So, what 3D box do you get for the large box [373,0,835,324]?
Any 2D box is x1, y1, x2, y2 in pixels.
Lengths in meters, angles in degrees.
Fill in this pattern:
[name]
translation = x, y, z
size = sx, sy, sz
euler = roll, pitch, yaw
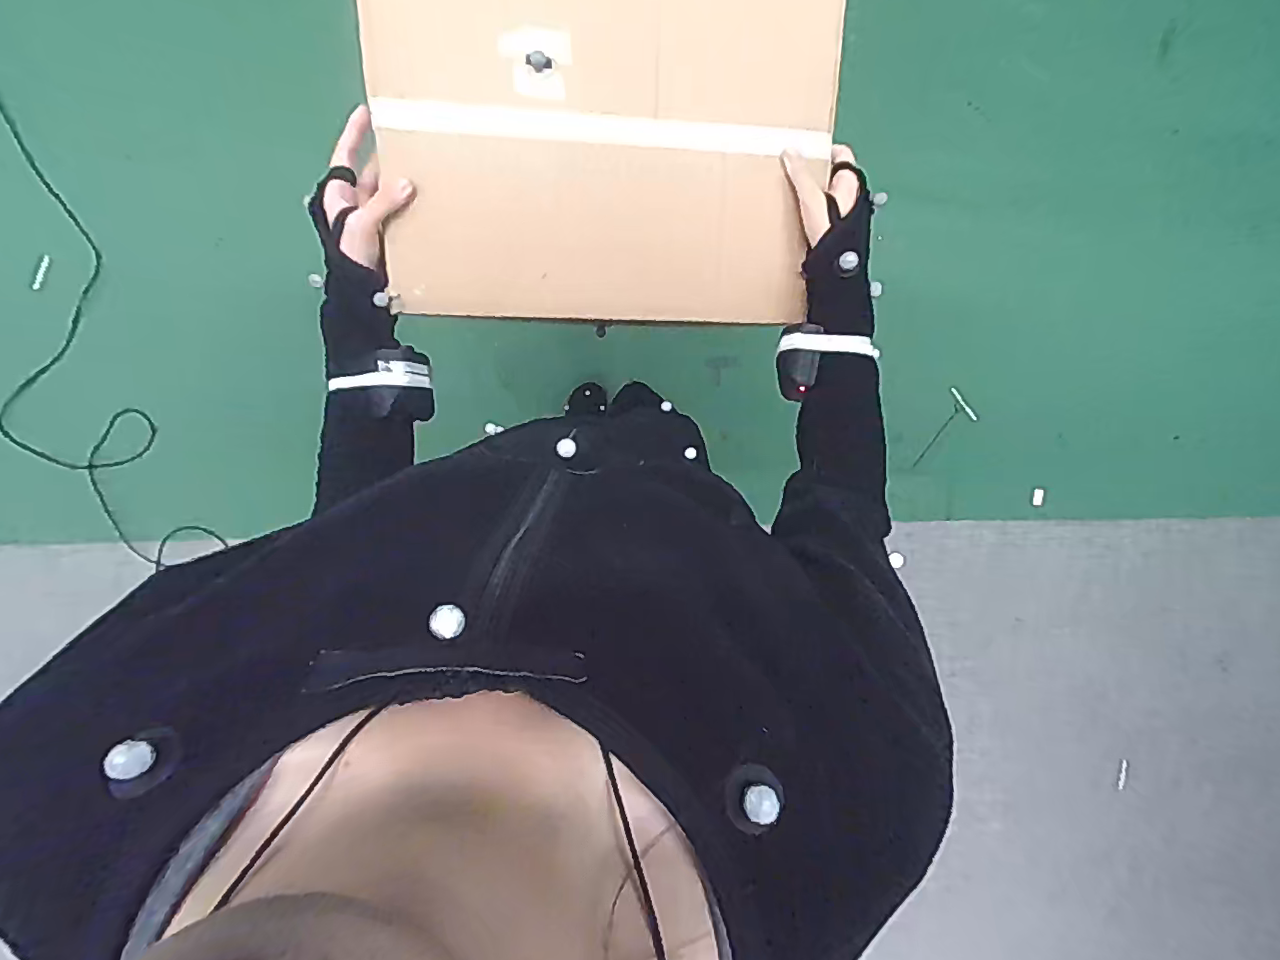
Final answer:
[large box]
translation = -0.044, -0.351, 0.632
size = 0.408, 0.320, 0.320
euler = 0, 105, -9
